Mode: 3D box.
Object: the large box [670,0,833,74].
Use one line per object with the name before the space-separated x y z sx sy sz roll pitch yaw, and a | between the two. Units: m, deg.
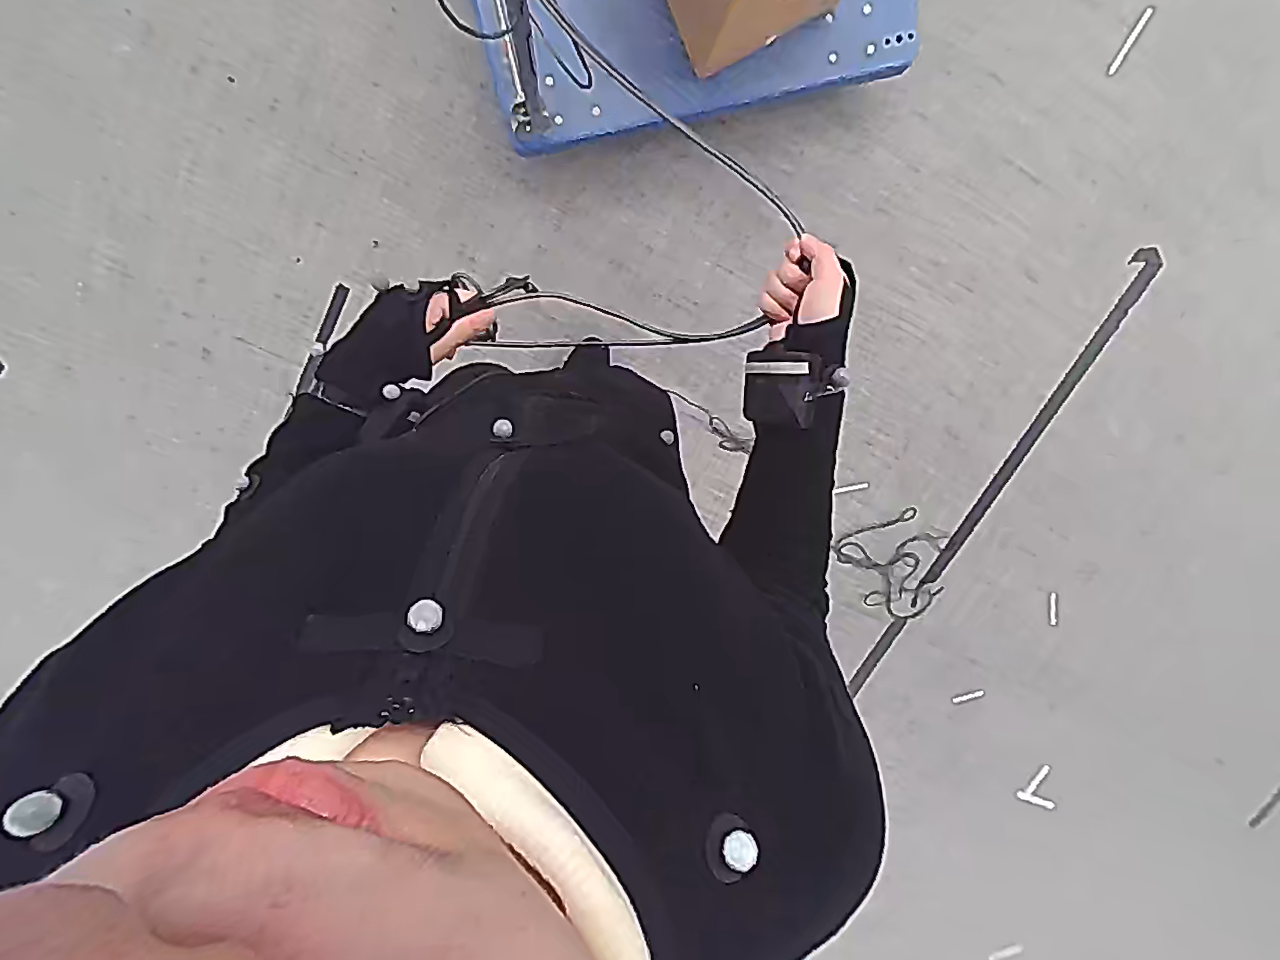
large box | 0.177 -1.009 0.888 0.320 0.320 0.408 -27 107 5
